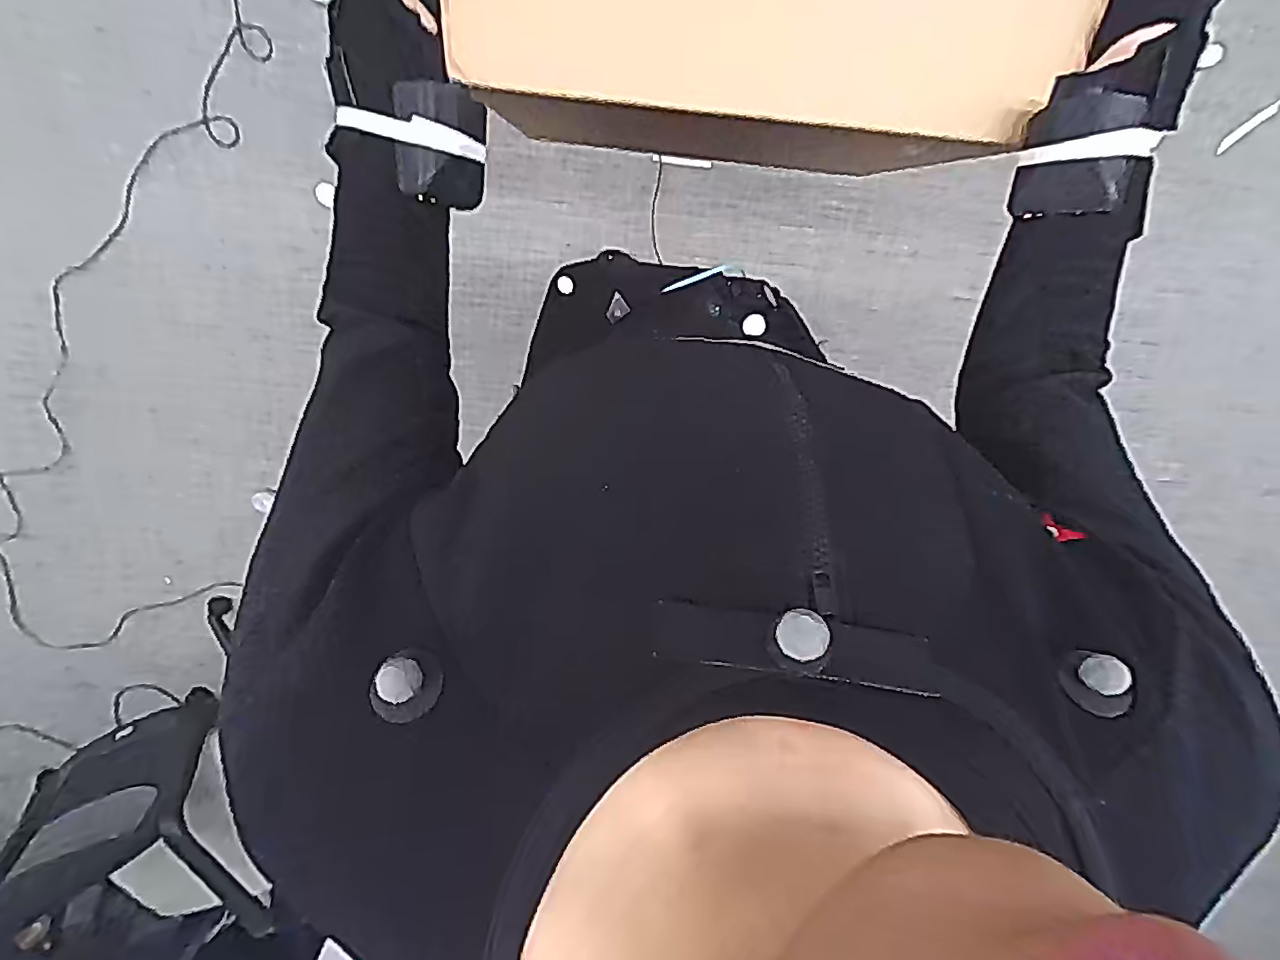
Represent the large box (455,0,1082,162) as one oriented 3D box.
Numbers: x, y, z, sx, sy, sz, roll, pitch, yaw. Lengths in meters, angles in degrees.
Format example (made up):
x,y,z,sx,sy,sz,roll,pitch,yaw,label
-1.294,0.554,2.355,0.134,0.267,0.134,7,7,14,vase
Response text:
x,y,z,sx,sy,sz,roll,pitch,yaw,label
0.082,-0.455,0.427,0.408,0.320,0.320,3,117,-5,large box
